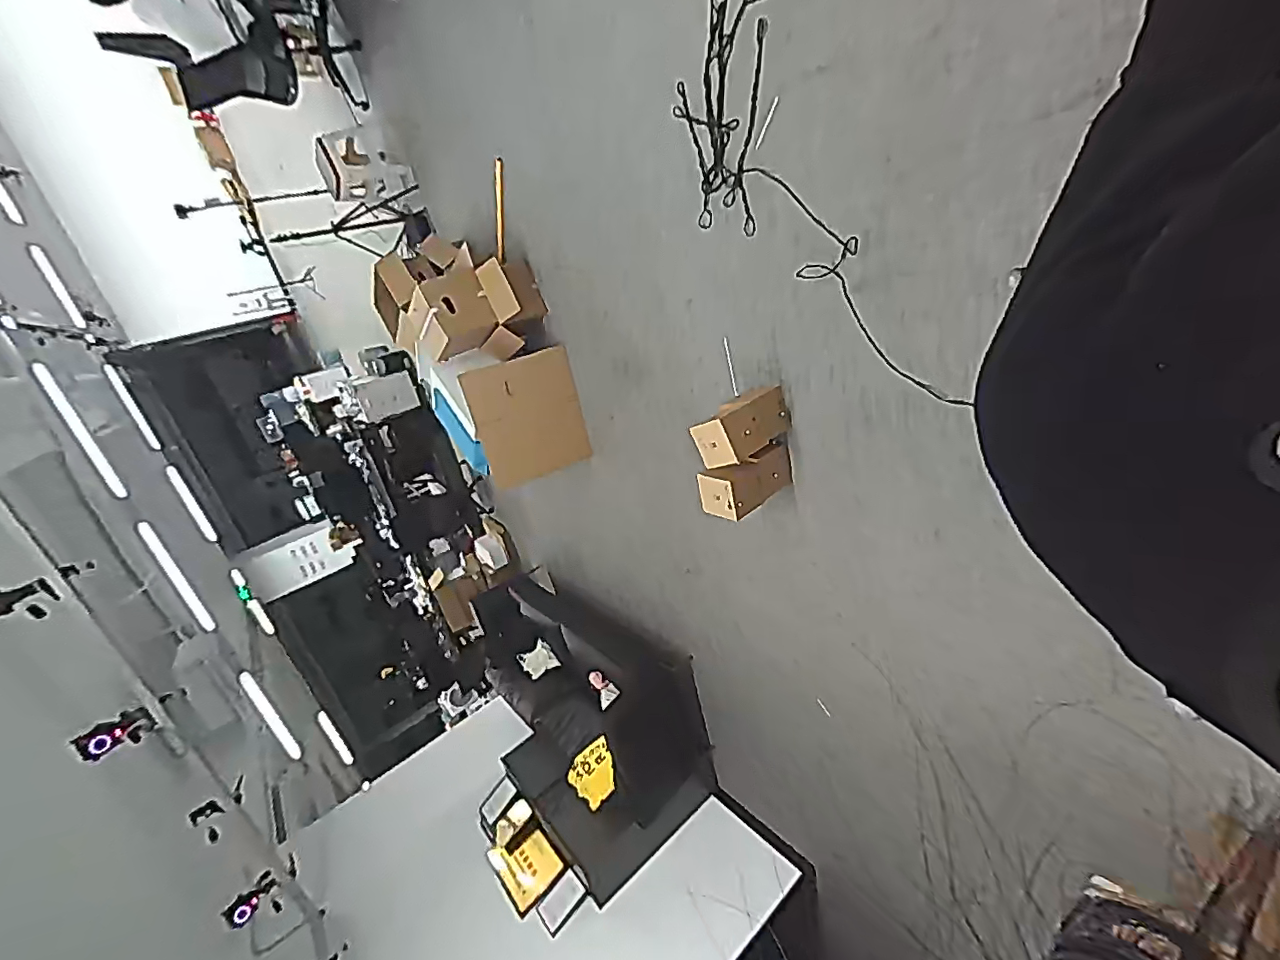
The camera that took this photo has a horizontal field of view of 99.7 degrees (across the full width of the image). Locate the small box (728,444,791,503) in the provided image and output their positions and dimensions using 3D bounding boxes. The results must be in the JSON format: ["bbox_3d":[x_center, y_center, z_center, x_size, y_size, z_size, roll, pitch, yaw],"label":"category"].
[{"bbox_3d":[0.464,-0.035,2.104,0.168,0.176,0.179,16,128,51],"label":"small box"}]

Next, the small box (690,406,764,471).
[{"bbox_3d":[0.314,-0.150,1.917,0.179,0.176,0.168,-12,105,59],"label":"small box"}]
